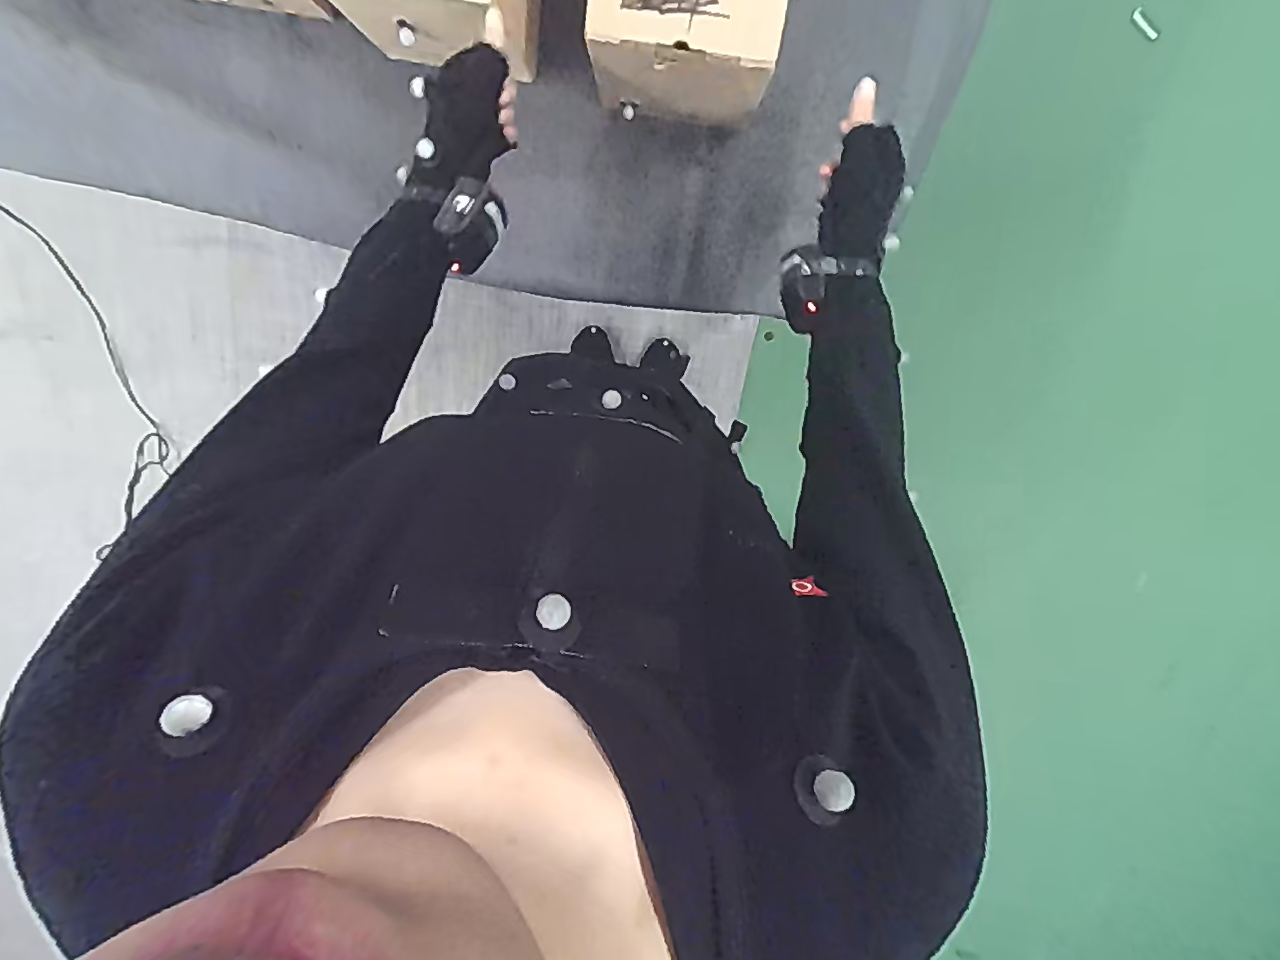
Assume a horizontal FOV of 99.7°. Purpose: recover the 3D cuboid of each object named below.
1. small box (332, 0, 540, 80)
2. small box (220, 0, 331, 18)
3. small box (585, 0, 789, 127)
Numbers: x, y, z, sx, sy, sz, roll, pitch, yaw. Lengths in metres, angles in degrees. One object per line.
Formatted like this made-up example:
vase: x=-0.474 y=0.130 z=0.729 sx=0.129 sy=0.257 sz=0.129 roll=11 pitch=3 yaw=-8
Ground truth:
small box: x=-0.185 y=-0.507 z=0.496 sx=0.168 sy=0.176 sz=0.179 roll=9 pitch=106 yaw=-1
small box: x=-0.401 y=-0.568 z=0.480 sx=0.168 sy=0.176 sz=0.179 roll=8 pitch=107 yaw=-1
small box: x=0.050 y=-0.460 z=0.502 sx=0.168 sy=0.176 sz=0.179 roll=9 pitch=106 yaw=-1
